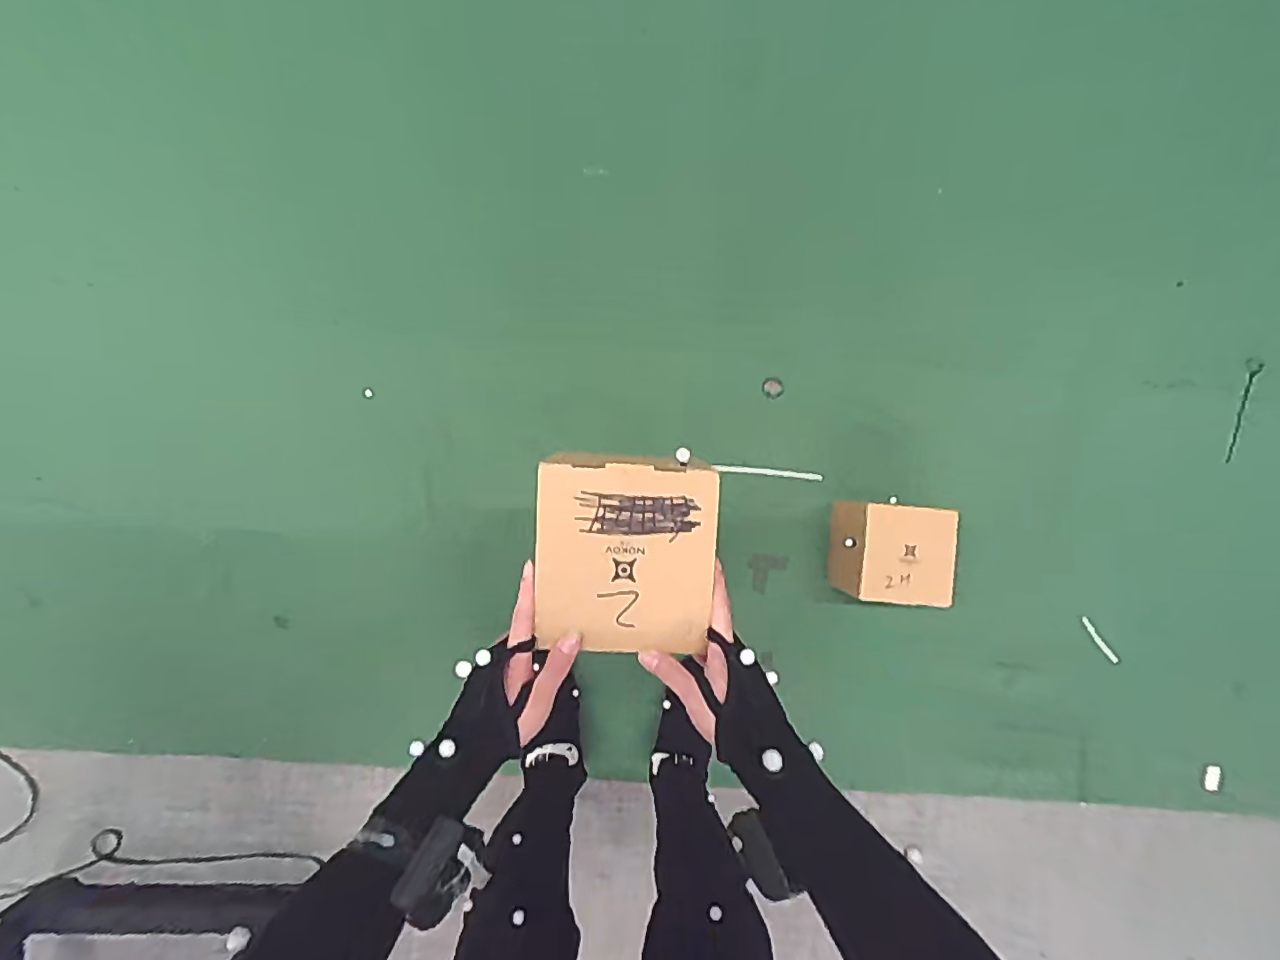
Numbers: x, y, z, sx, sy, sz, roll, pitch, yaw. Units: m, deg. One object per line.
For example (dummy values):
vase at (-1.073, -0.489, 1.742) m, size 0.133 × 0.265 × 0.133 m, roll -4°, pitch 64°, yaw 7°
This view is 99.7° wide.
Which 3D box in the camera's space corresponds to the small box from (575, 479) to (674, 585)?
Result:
small box at (-0.027, 0.094, 1.032) m, size 0.168 × 0.176 × 0.179 m, roll 4°, pitch 88°, yaw -1°

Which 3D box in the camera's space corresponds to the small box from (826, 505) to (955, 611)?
small box at (0.473, 0.142, 1.042) m, size 0.168 × 0.176 × 0.179 m, roll 6°, pitch 89°, yaw -1°
